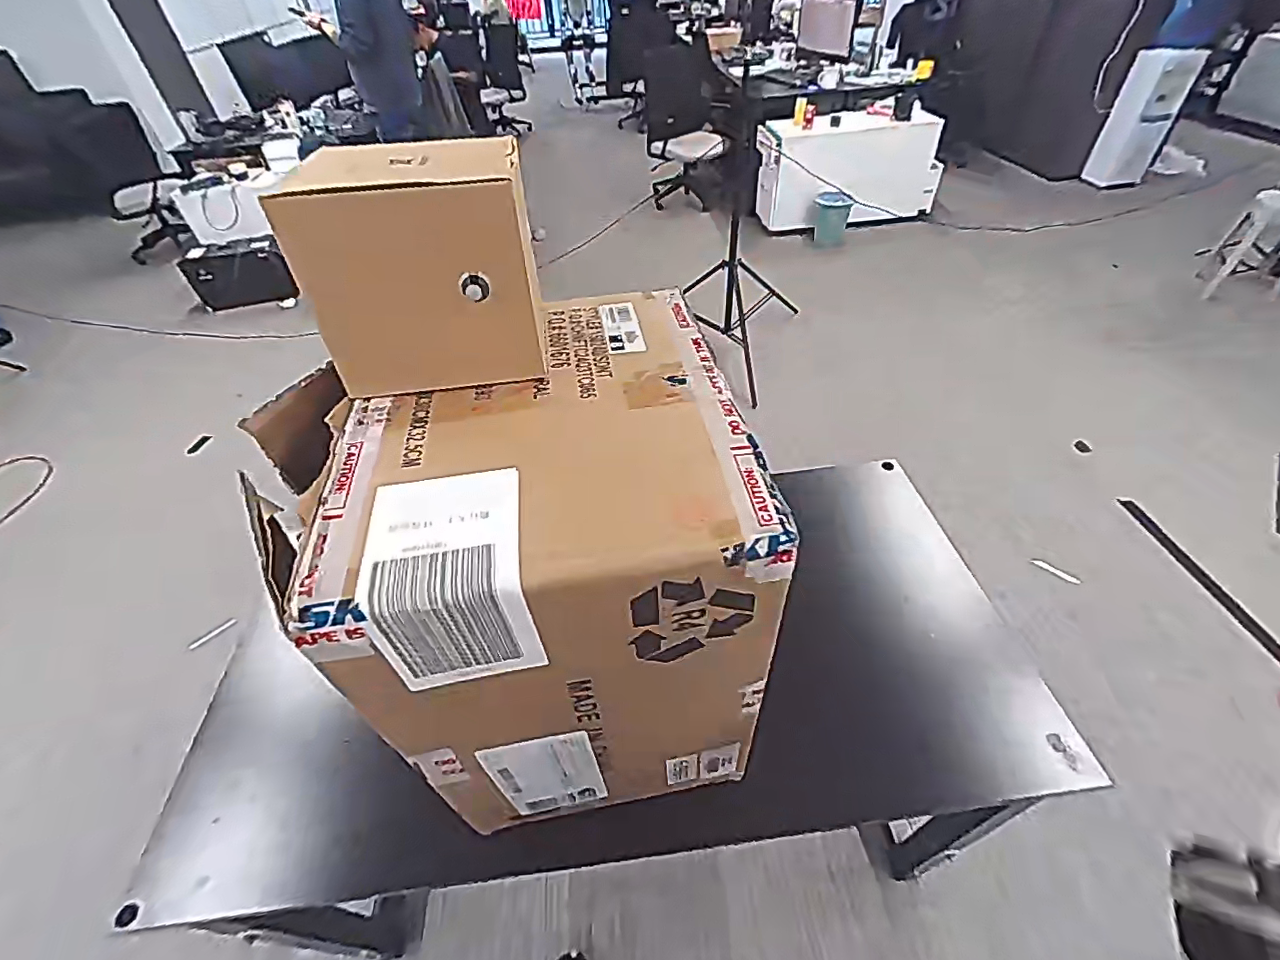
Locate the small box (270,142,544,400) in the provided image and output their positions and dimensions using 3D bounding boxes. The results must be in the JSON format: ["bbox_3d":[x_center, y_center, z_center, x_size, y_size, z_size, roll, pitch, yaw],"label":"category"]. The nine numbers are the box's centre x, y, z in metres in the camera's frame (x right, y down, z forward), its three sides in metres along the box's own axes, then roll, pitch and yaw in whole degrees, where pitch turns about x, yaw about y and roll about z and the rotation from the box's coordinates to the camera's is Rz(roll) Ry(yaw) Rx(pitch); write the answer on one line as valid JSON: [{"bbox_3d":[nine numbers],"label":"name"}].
[{"bbox_3d":[-0.185,-0.193,0.499,0.179,0.176,0.168,-8,42,-5],"label":"small box"}]
